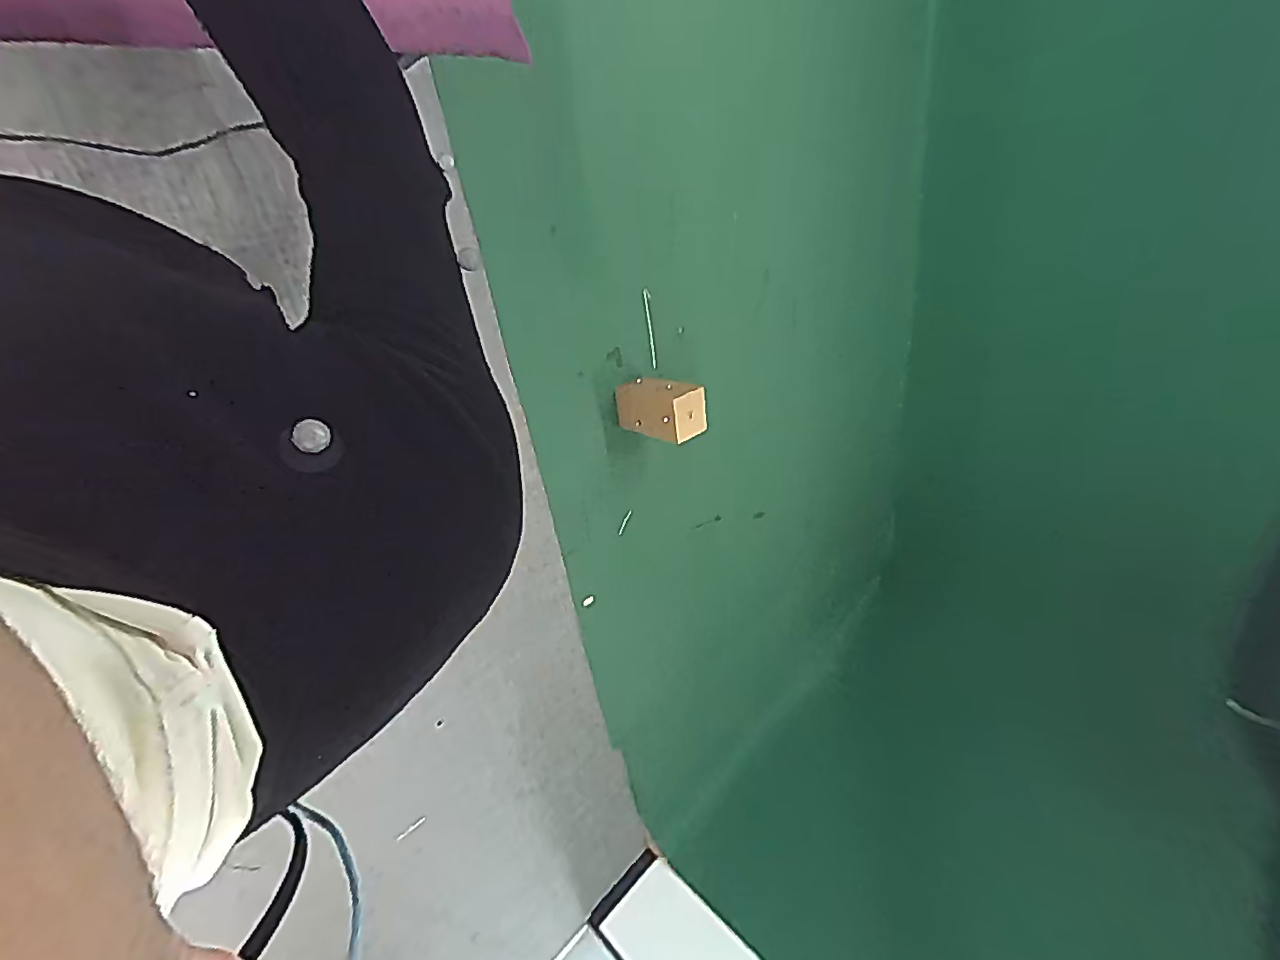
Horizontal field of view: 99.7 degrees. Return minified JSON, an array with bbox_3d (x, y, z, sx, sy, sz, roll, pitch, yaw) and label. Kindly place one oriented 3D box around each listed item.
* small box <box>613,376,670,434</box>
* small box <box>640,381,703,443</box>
[{"bbox_3d":[0.012,-0.305,2.166,0.168,0.176,0.179,-27,123,-35],"label":"small box"},{"bbox_3d":[0.120,-0.262,2.052,0.168,0.176,0.179,-28,122,-35],"label":"small box"}]
